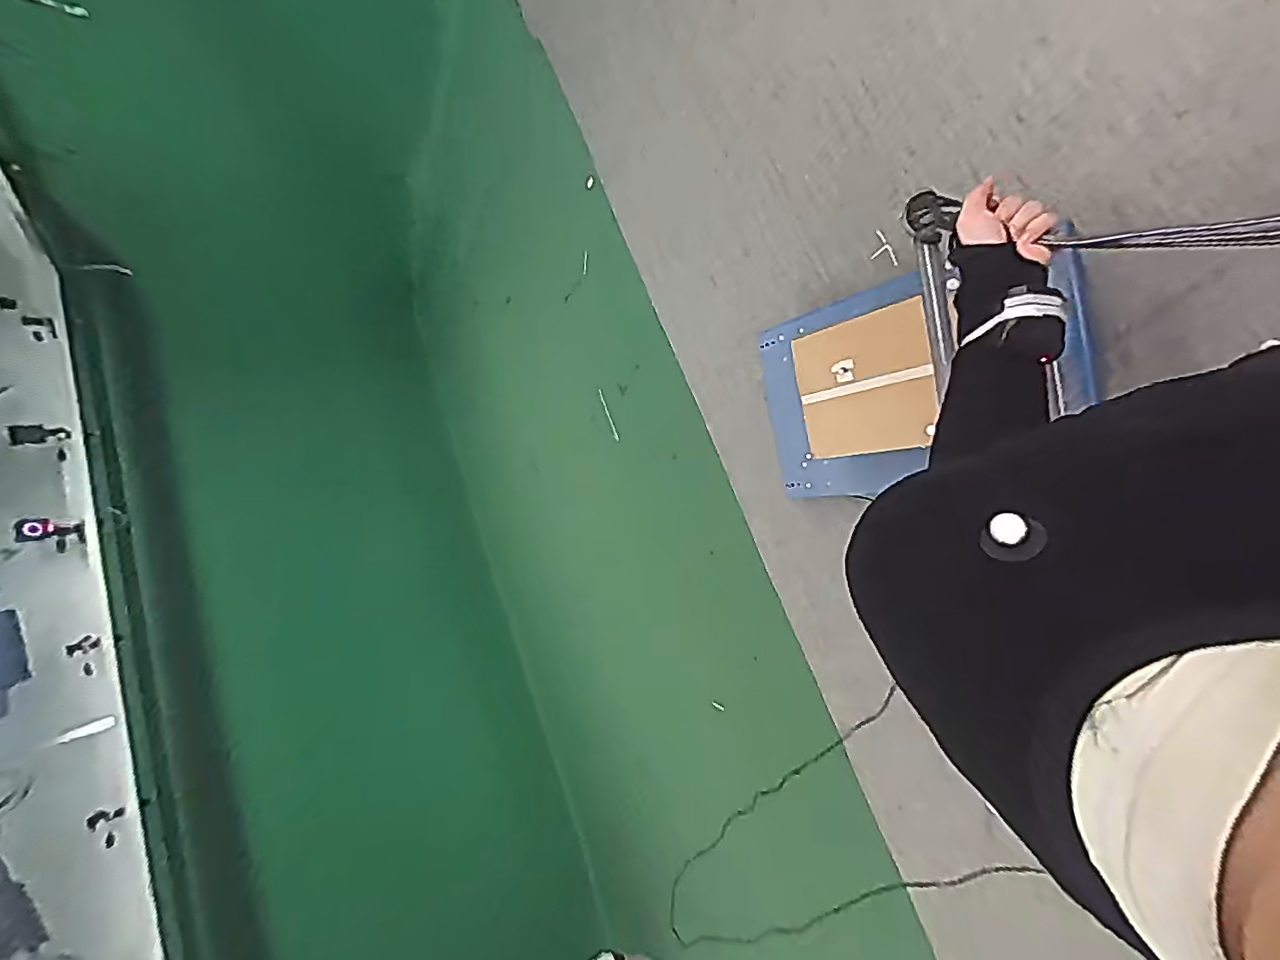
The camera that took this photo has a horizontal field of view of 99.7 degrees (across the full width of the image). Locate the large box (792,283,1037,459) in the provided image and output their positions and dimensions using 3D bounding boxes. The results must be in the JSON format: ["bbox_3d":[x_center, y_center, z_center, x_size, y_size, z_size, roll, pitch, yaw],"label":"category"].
[{"bbox_3d":[0.645,-0.247,1.299,0.408,0.320,0.320,-7,94,55],"label":"large box"}]
